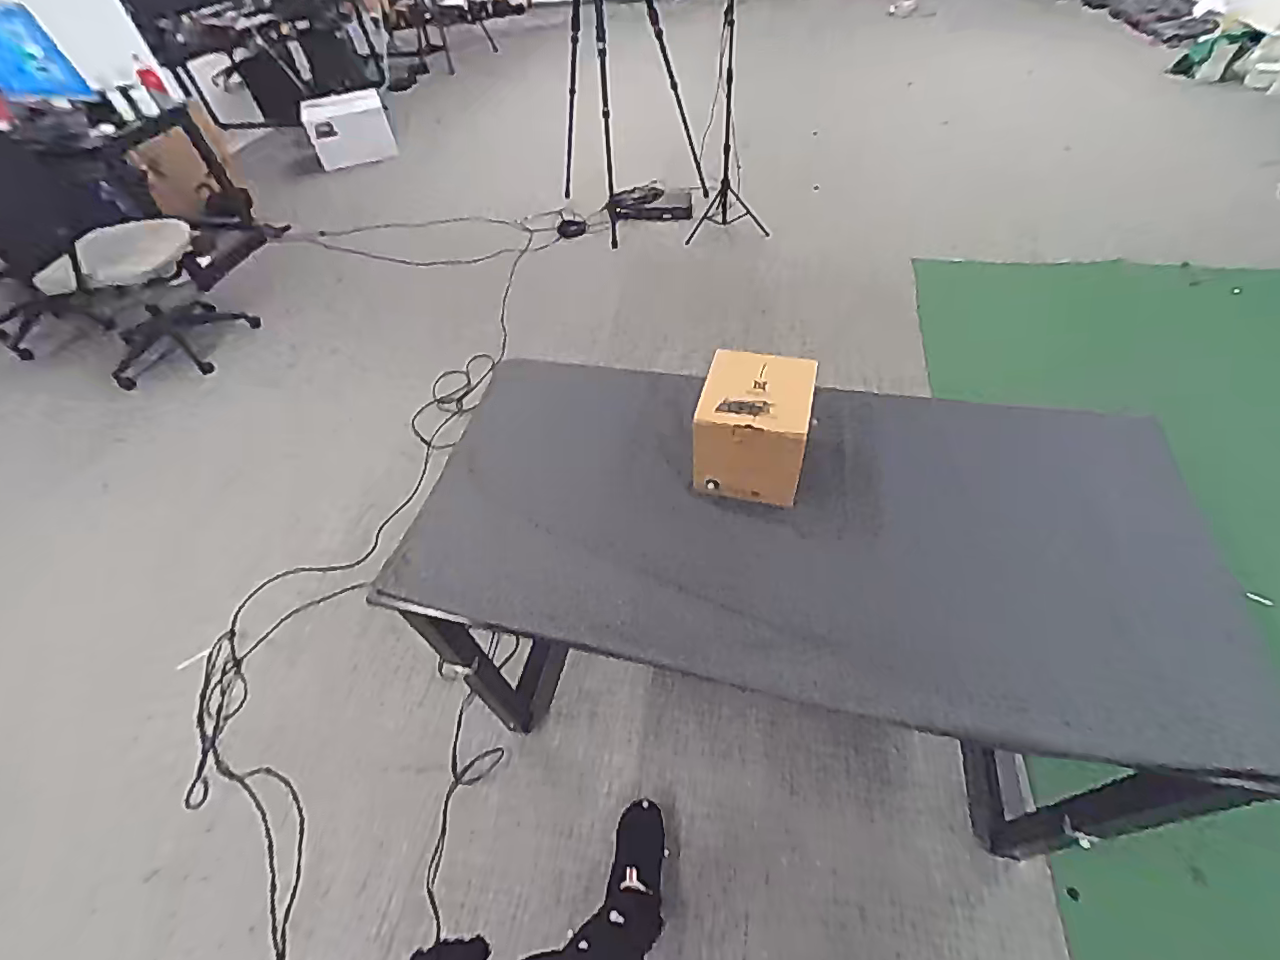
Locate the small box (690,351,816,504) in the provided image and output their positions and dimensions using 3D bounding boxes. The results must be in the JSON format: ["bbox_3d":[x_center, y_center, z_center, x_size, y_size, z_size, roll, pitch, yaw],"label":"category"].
[{"bbox_3d":[0.183,-0.083,0.886,0.168,0.176,0.179,11,52,14],"label":"small box"}]
